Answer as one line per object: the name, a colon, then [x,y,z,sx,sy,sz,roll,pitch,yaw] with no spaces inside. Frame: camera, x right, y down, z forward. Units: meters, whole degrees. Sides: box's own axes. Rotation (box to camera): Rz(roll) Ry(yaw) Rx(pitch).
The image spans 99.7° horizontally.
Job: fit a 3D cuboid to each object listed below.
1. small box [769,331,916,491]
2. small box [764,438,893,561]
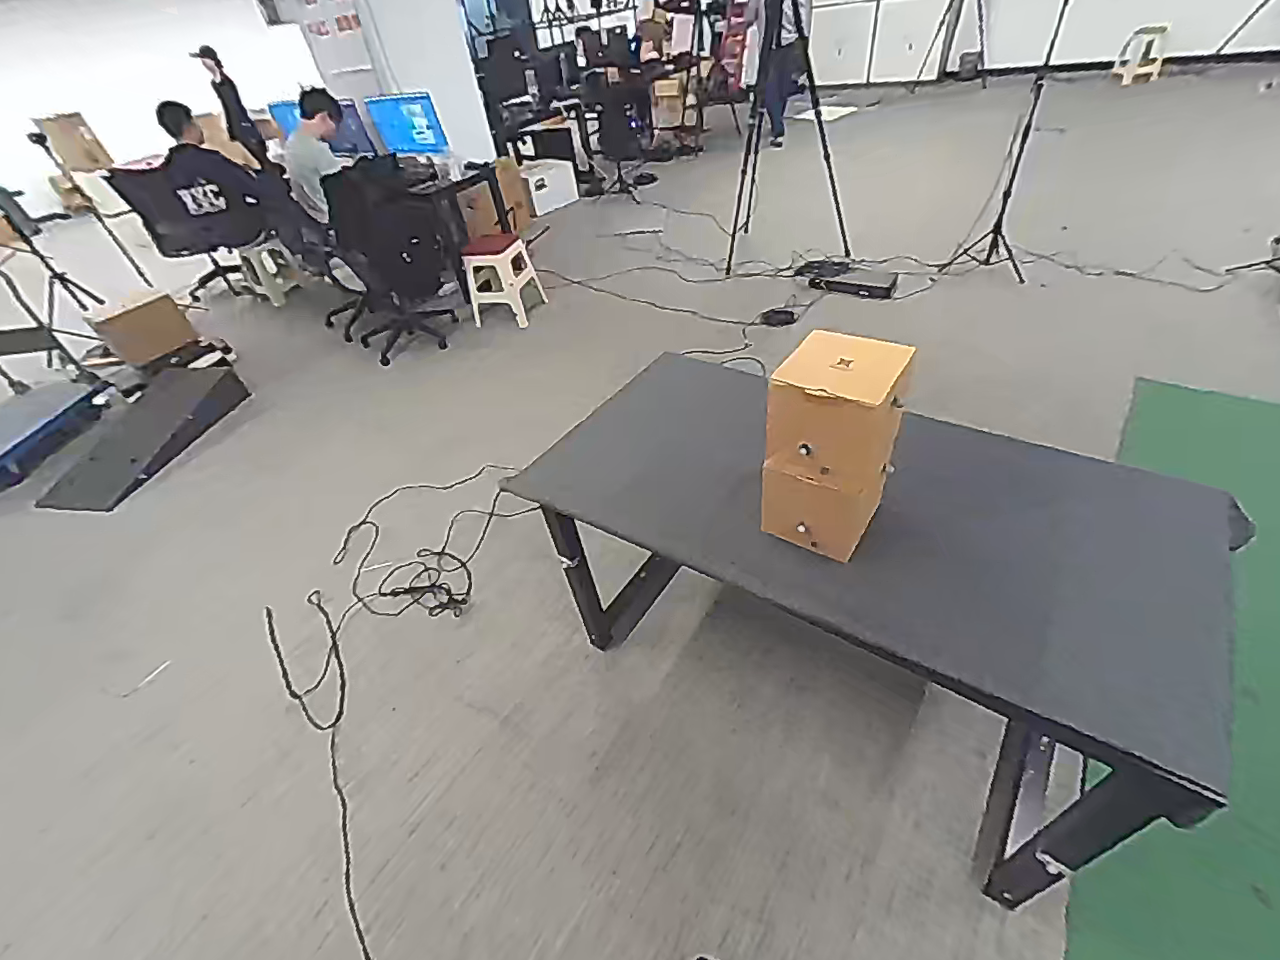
small box: [0.317,-0.113,0.872,0.168,0.176,0.179,22,50,29]
small box: [0.331,0.011,0.976,0.168,0.176,0.179,22,50,30]
